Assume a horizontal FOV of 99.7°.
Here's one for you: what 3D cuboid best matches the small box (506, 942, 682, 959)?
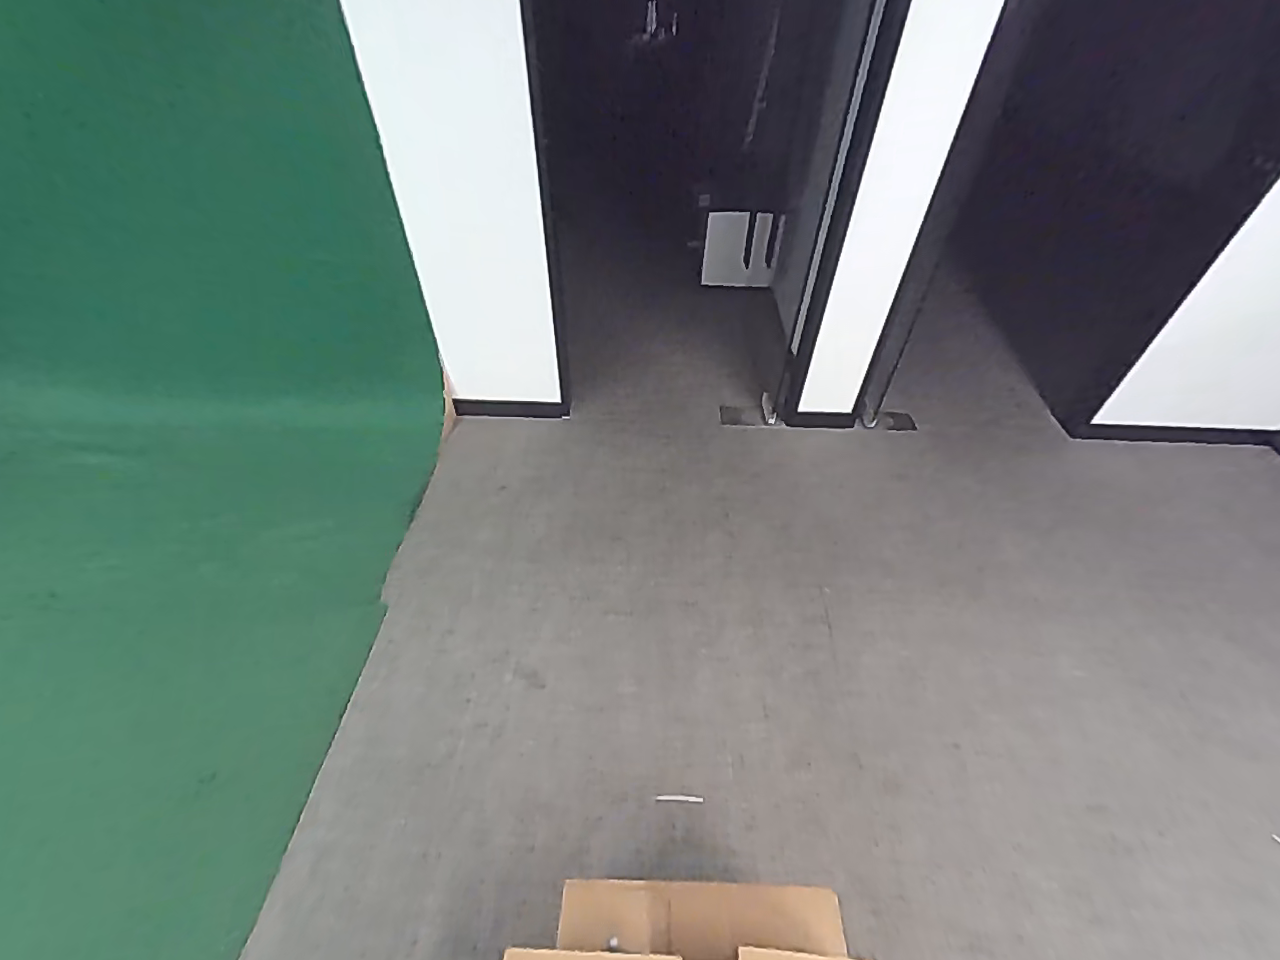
[{"bbox_3d":[-0.045,0.548,0.499,0.168,0.176,0.179,2,47,1],"label":"small box"}]

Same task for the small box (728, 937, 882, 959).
[{"bbox_3d":[0.191,0.658,0.621,0.168,0.176,0.179,4,45,4],"label":"small box"}]
